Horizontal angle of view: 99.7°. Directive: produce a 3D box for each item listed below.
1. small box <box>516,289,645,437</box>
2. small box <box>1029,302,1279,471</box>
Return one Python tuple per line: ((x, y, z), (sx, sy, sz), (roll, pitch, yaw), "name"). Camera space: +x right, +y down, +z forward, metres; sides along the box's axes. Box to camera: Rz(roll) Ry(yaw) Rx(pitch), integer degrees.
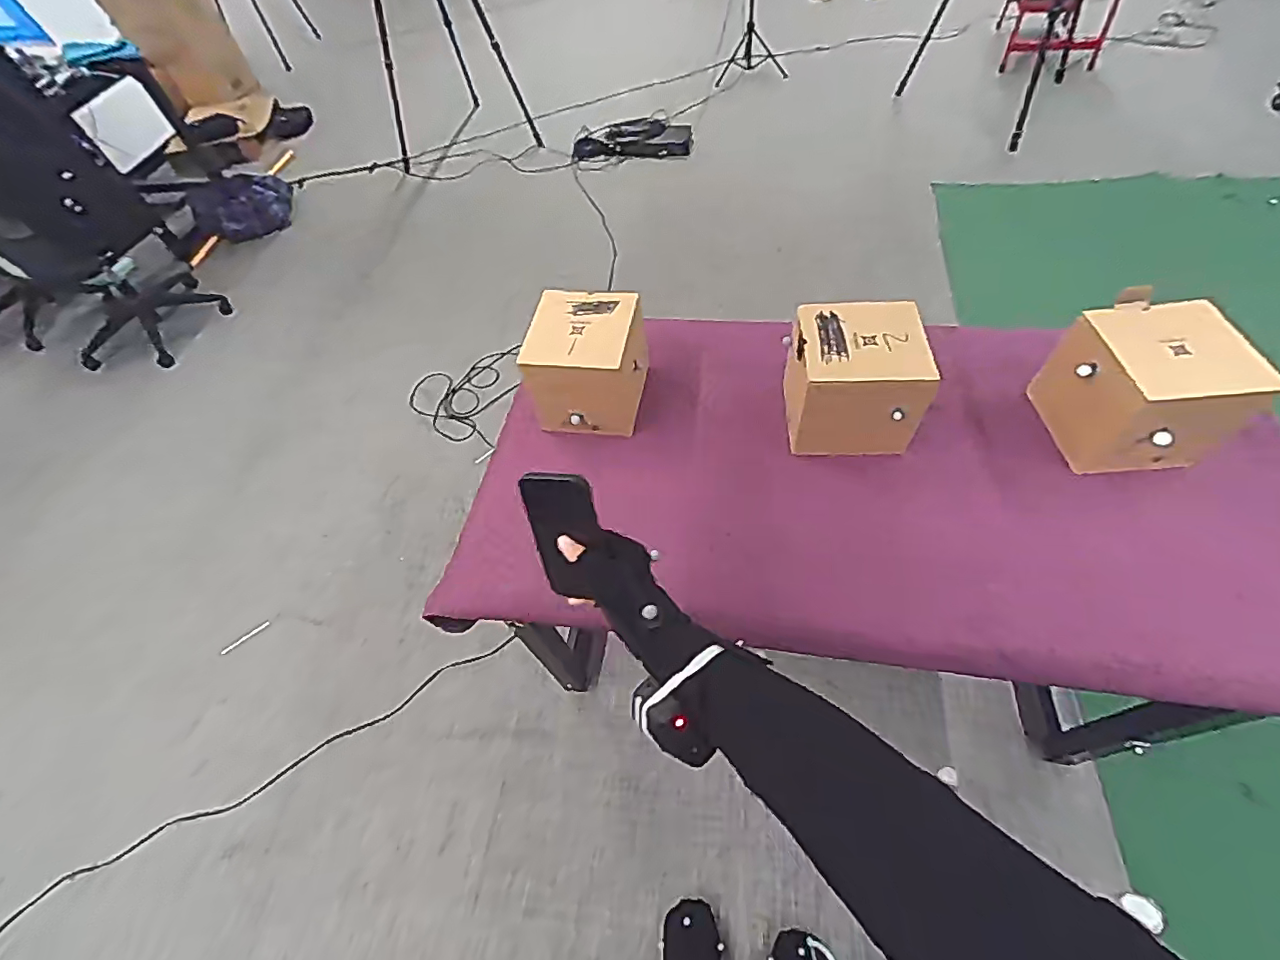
((-0.088, -0.197, 0.917), (0.168, 0.176, 0.179), (6, 58, 11), "small box")
((0.710, -0.125, 0.775), (0.168, 0.176, 0.179), (-4, 55, 5), "small box")
